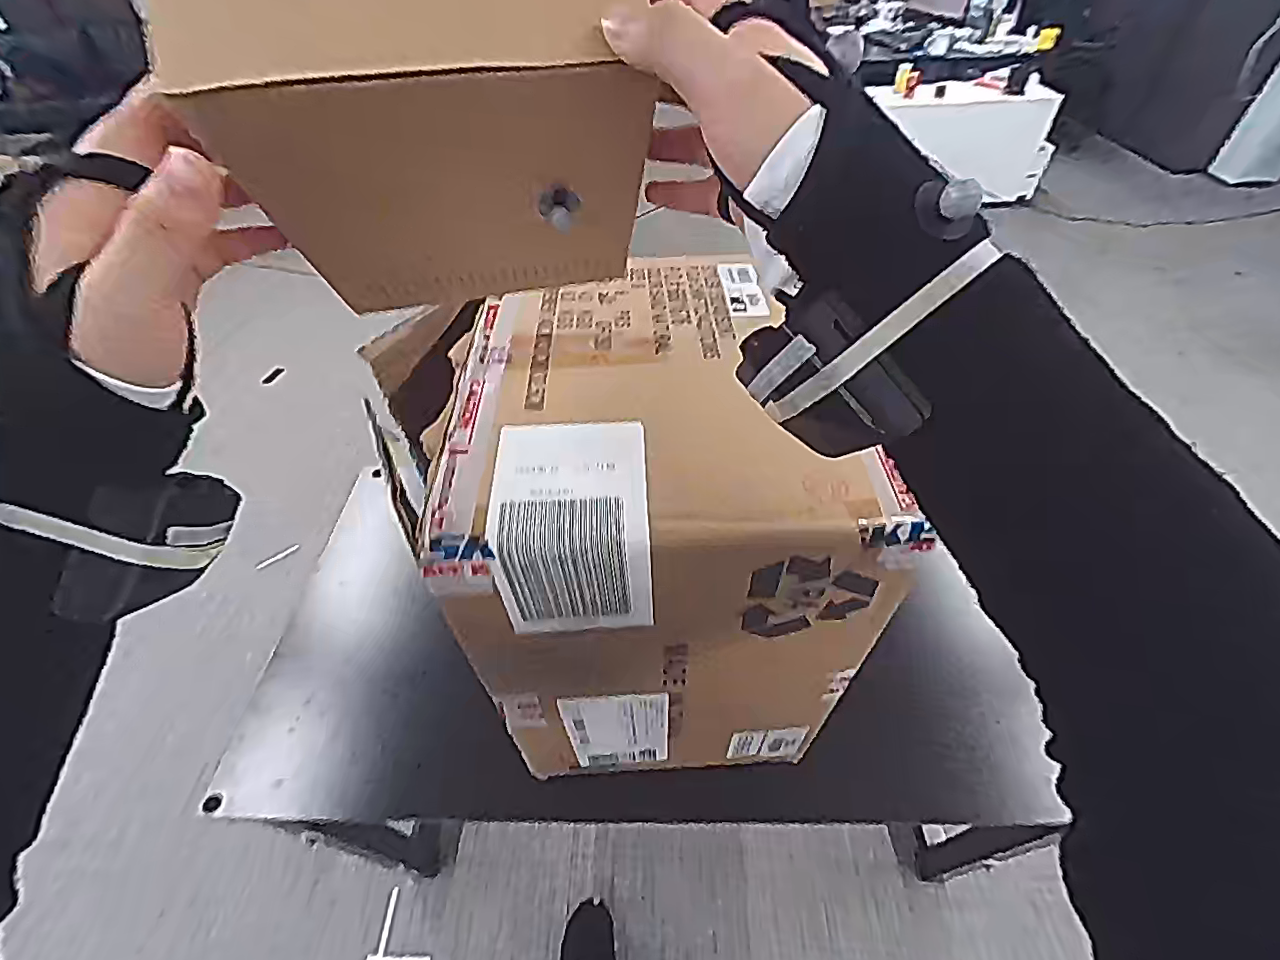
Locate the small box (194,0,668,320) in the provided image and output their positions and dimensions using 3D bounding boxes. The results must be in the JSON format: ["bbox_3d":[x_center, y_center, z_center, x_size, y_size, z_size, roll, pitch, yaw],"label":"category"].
[{"bbox_3d":[-0.098,-0.209,0.296,0.179,0.176,0.168,-12,81,-8],"label":"small box"}]
